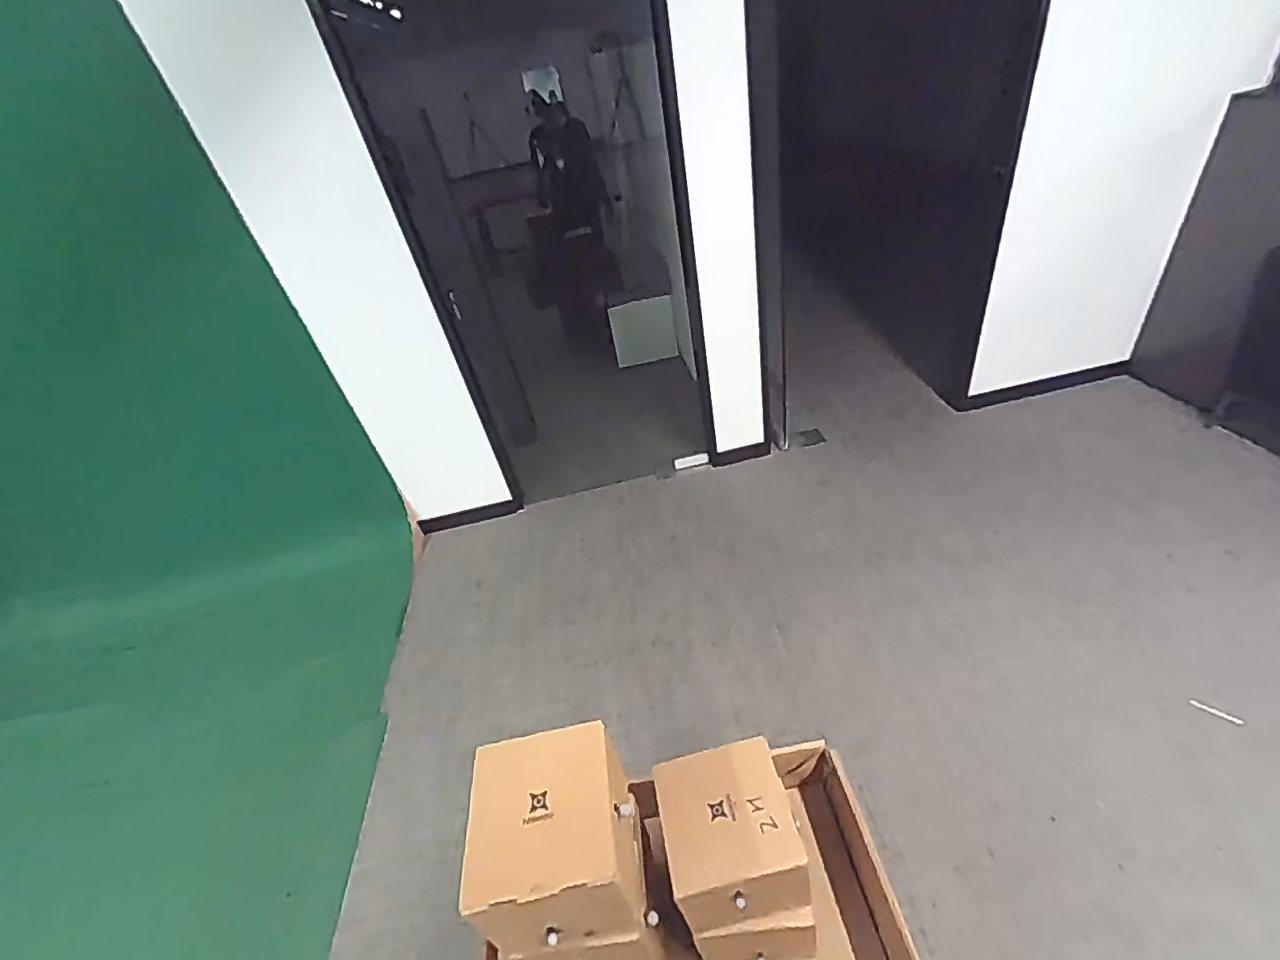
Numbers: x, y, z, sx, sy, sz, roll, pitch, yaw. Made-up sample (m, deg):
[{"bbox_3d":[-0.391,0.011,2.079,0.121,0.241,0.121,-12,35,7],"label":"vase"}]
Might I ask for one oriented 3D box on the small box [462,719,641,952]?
[{"bbox_3d":[-0.100,0.431,0.663,0.168,0.176,0.179,-13,37,-1],"label":"small box"}]
